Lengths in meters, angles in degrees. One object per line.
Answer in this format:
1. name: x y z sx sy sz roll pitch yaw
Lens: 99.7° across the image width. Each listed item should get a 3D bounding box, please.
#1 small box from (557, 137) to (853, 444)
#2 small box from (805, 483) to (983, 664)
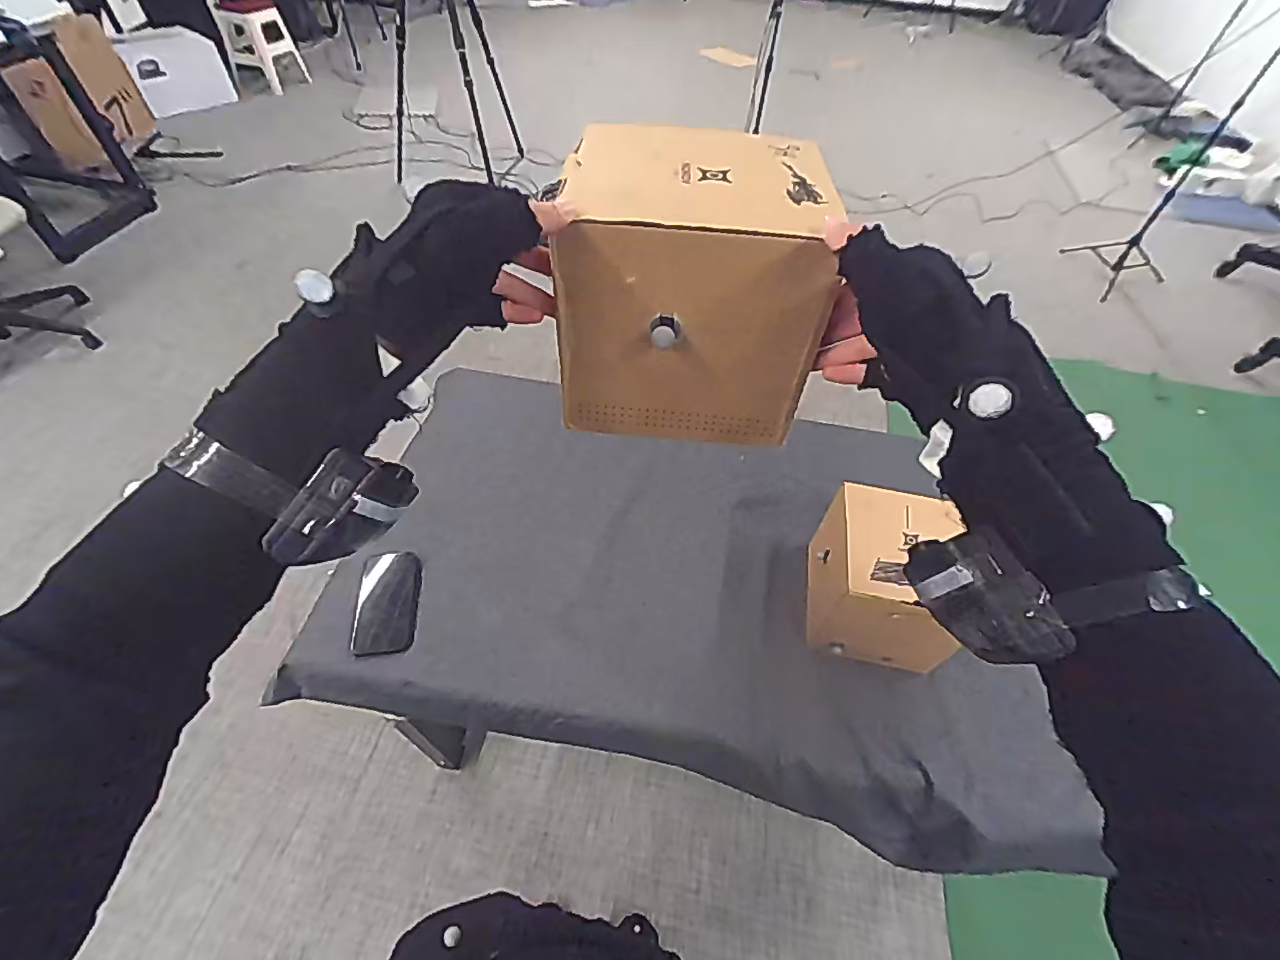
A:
1. small box: 0.040 -0.144 0.423 0.179 0.176 0.168 4 49 0
2. small box: 0.337 0.134 0.755 0.168 0.176 0.179 11 50 5
